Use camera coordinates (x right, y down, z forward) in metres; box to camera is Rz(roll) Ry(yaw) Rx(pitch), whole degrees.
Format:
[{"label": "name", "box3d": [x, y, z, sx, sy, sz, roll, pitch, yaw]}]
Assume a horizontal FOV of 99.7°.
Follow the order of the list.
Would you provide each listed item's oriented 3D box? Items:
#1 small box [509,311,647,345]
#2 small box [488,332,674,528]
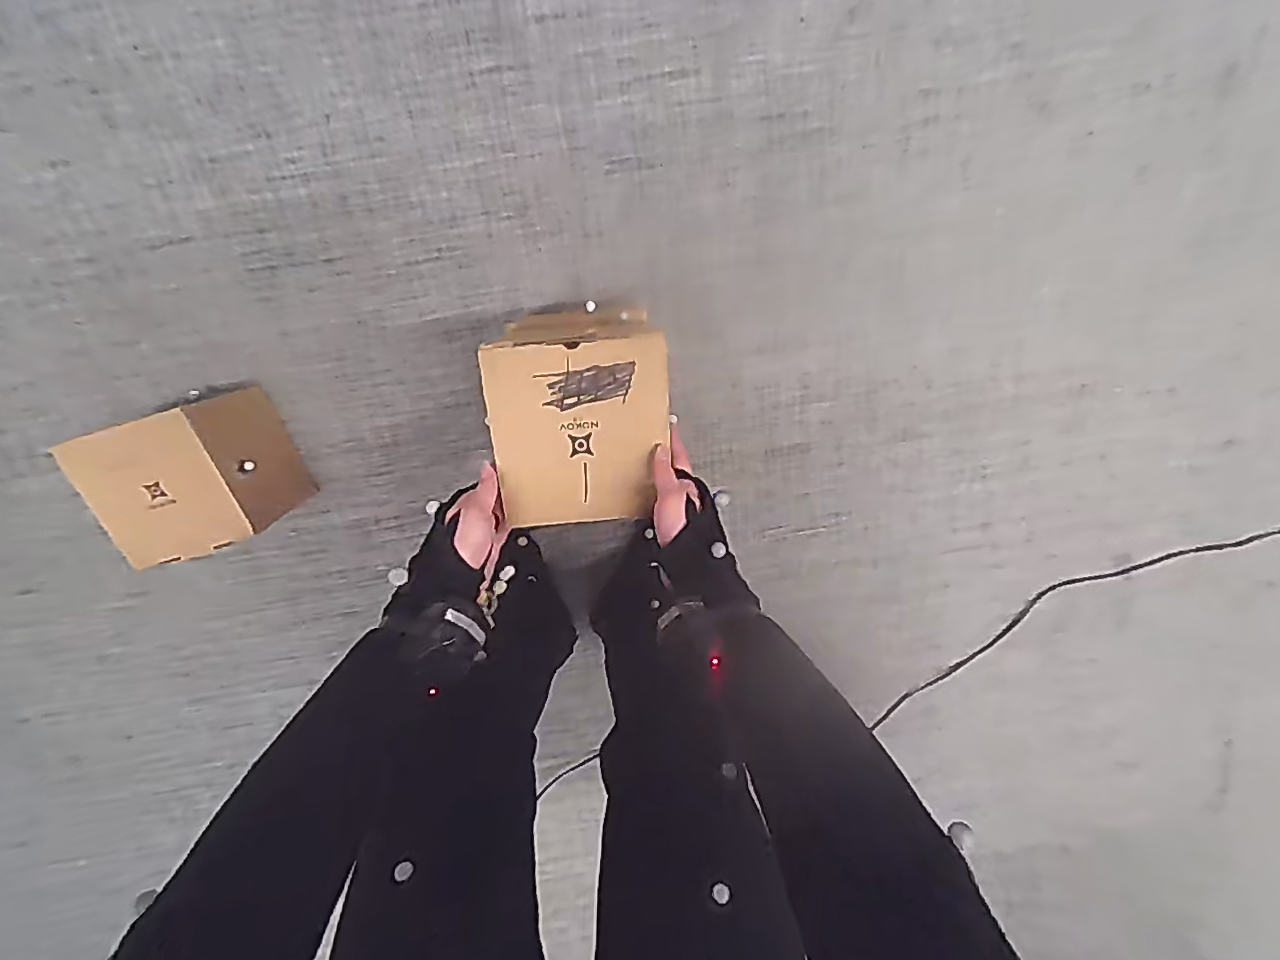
[{"label": "small box", "box3d": [-0.071, -0.130, 0.739, 0.168, 0.176, 0.179, -6, 110, -2]}, {"label": "small box", "box3d": [-0.057, -0.066, 0.585, 0.168, 0.176, 0.179, -5, 109, -2]}]
